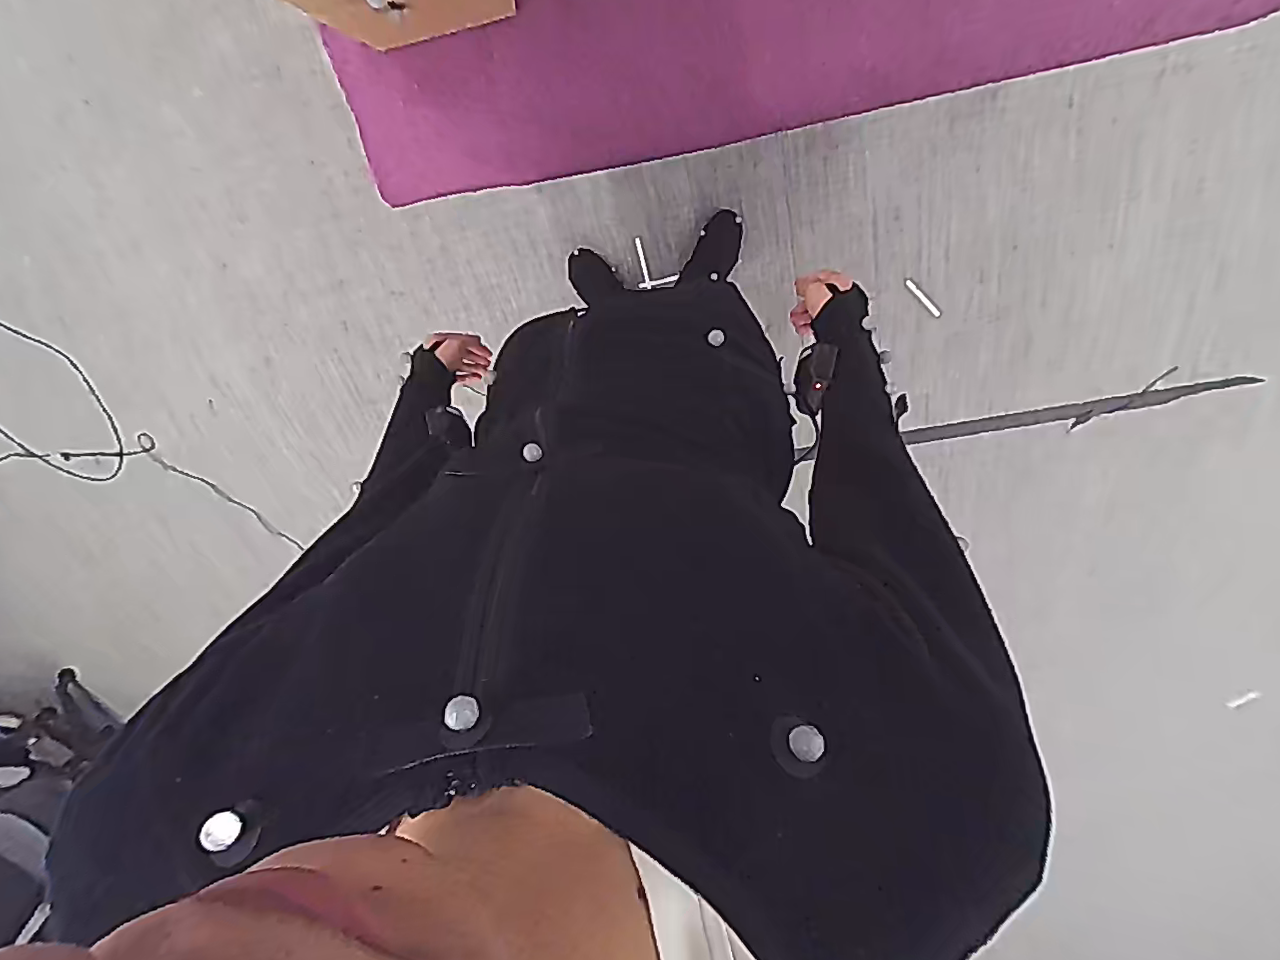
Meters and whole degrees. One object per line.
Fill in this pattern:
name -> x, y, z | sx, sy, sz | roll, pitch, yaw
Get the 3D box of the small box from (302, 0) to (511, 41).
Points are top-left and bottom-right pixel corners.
small box -> -0.244, -0.567, 0.533 | 0.179, 0.176, 0.168 | -8, 118, 6
